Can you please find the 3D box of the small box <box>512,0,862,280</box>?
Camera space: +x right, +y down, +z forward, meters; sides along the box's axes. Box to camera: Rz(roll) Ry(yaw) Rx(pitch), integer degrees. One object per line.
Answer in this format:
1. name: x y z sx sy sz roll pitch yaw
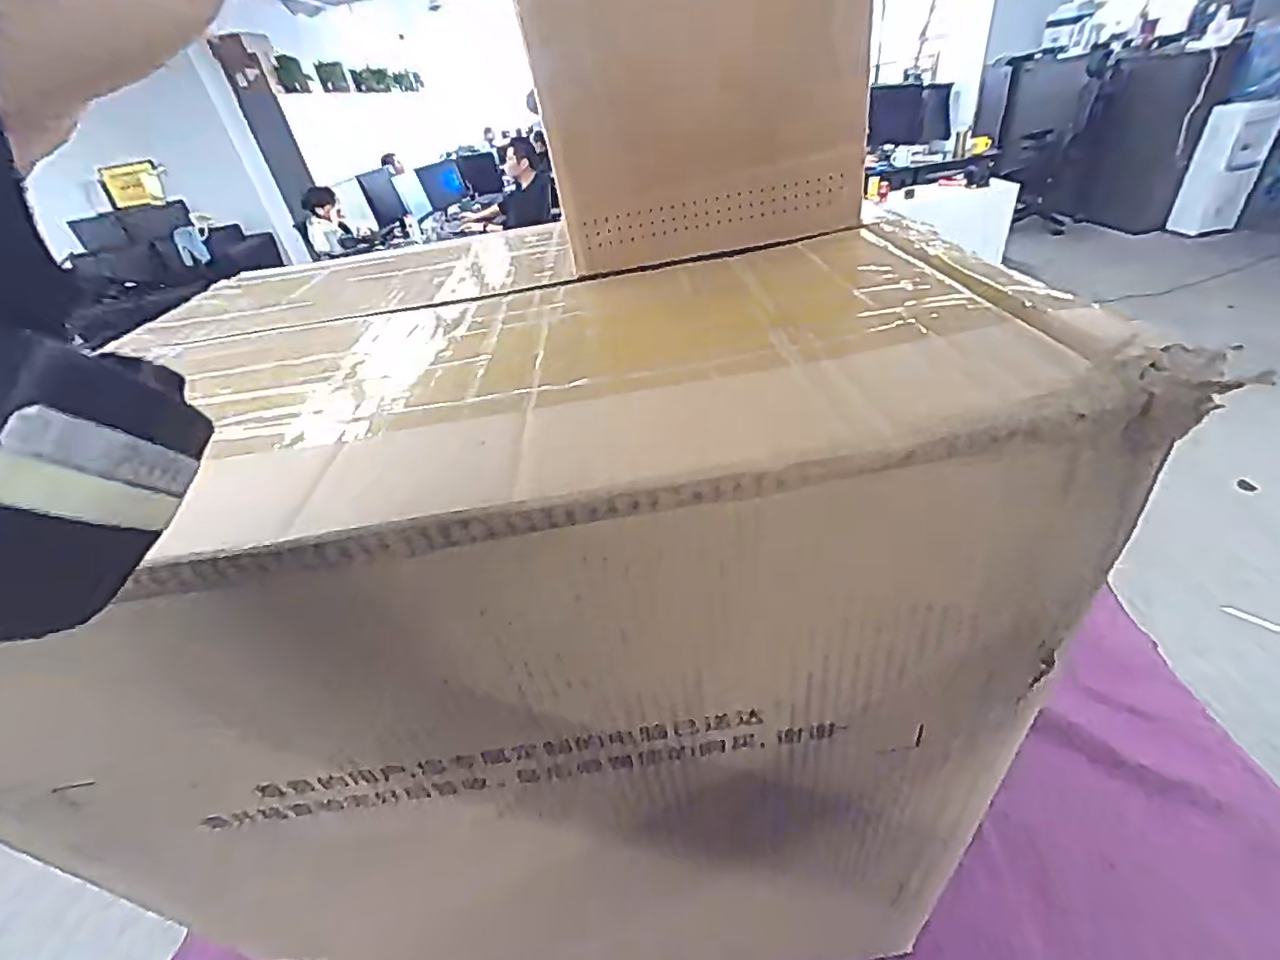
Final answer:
1. small box: 0.029 -0.238 0.343 0.179 0.176 0.168 -9 35 2
